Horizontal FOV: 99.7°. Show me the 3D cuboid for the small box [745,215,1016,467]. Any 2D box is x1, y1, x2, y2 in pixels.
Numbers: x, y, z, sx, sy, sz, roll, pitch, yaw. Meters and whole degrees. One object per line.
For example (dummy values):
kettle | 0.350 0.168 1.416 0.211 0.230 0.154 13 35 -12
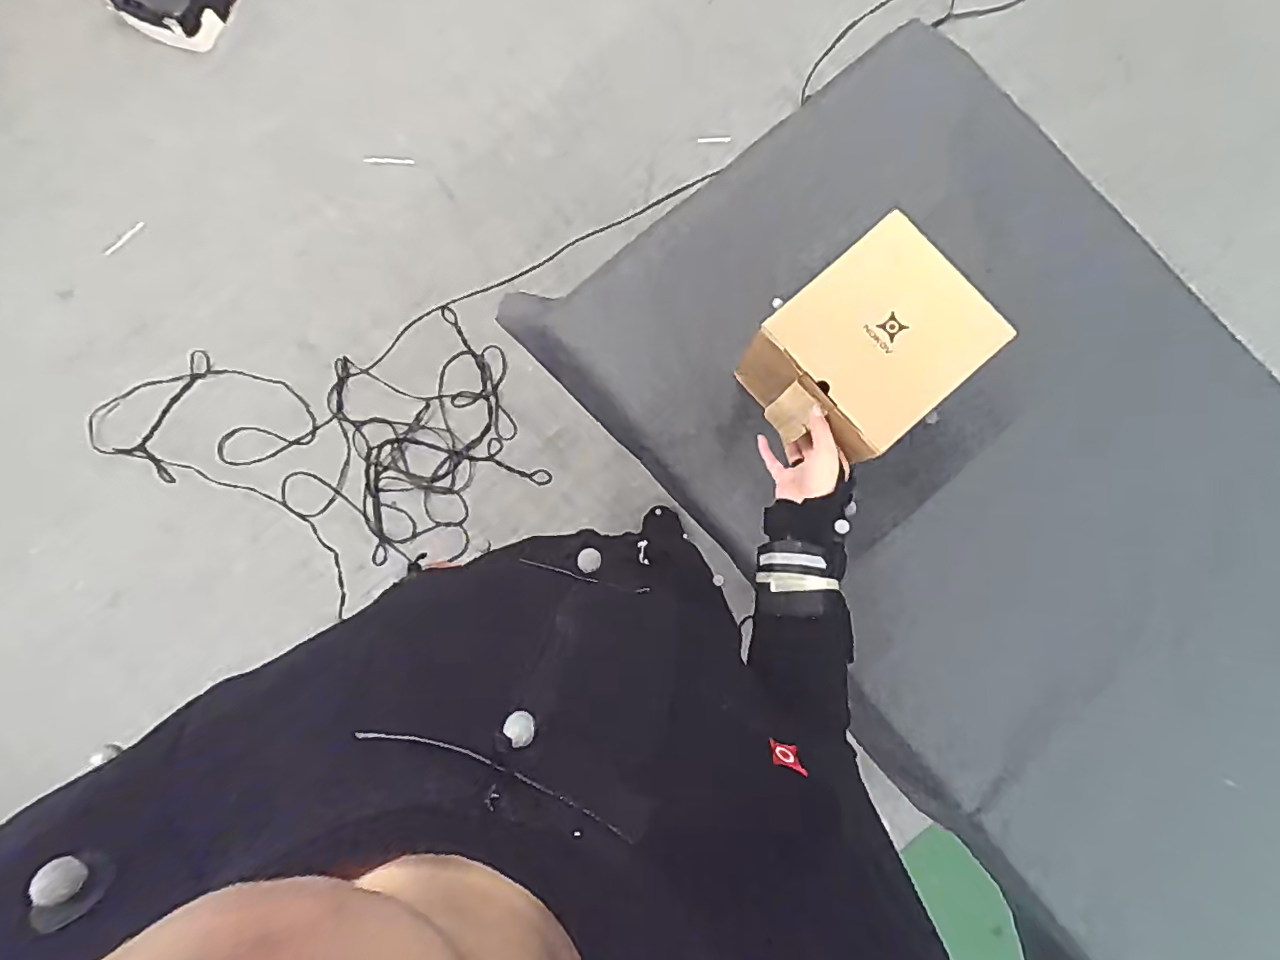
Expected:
small box | 0.237 -0.133 0.586 0.179 0.176 0.168 -42 87 -1
